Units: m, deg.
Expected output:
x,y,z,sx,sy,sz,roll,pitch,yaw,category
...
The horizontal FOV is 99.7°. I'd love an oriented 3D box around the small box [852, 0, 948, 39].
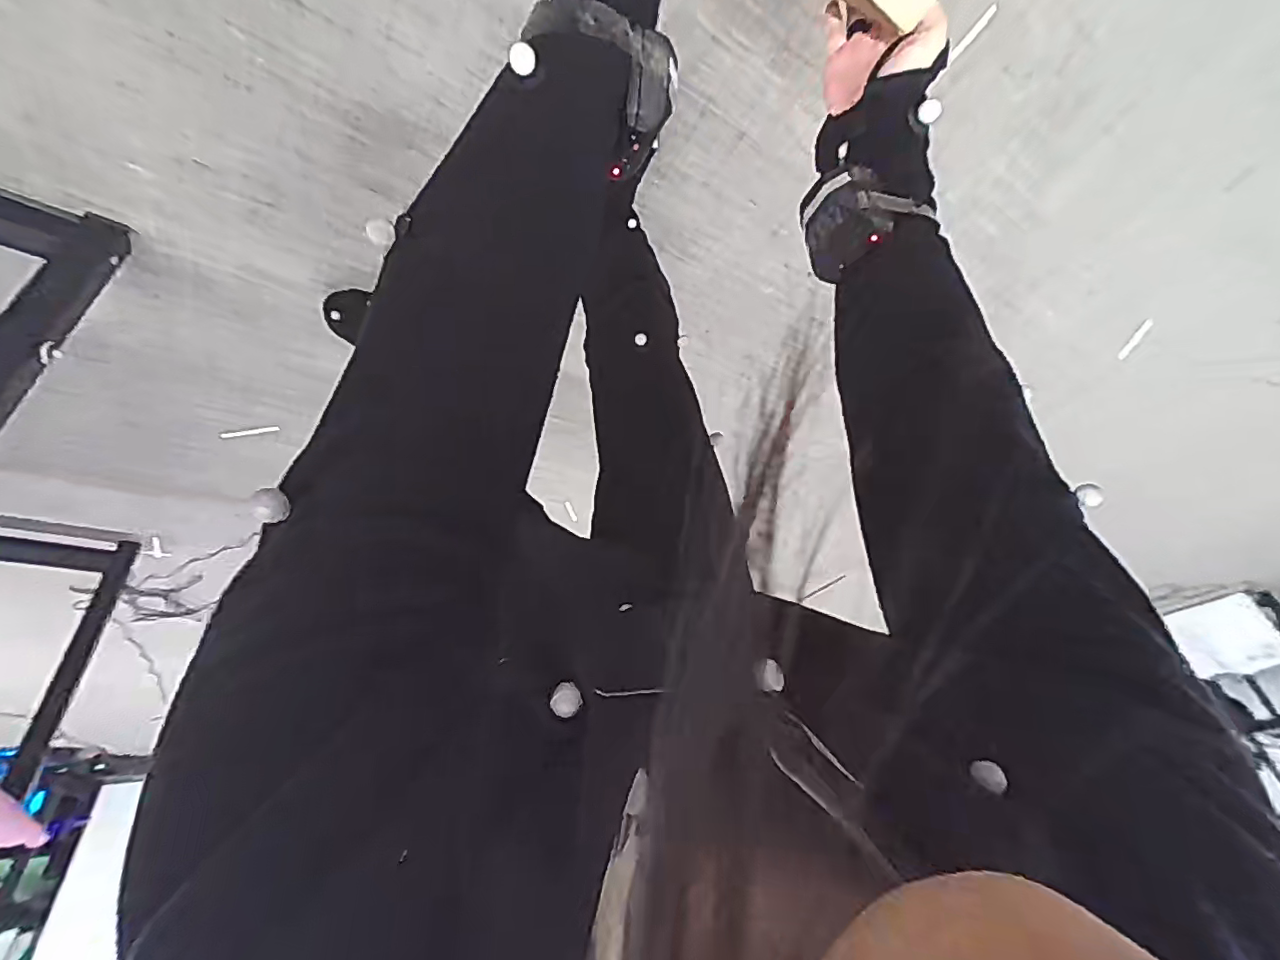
x,y,z,sx,sy,sz,roll,pitch,yaw,category
0.139,-0.419,0.316,0.179,0.176,0.168,13,137,-31,small box
